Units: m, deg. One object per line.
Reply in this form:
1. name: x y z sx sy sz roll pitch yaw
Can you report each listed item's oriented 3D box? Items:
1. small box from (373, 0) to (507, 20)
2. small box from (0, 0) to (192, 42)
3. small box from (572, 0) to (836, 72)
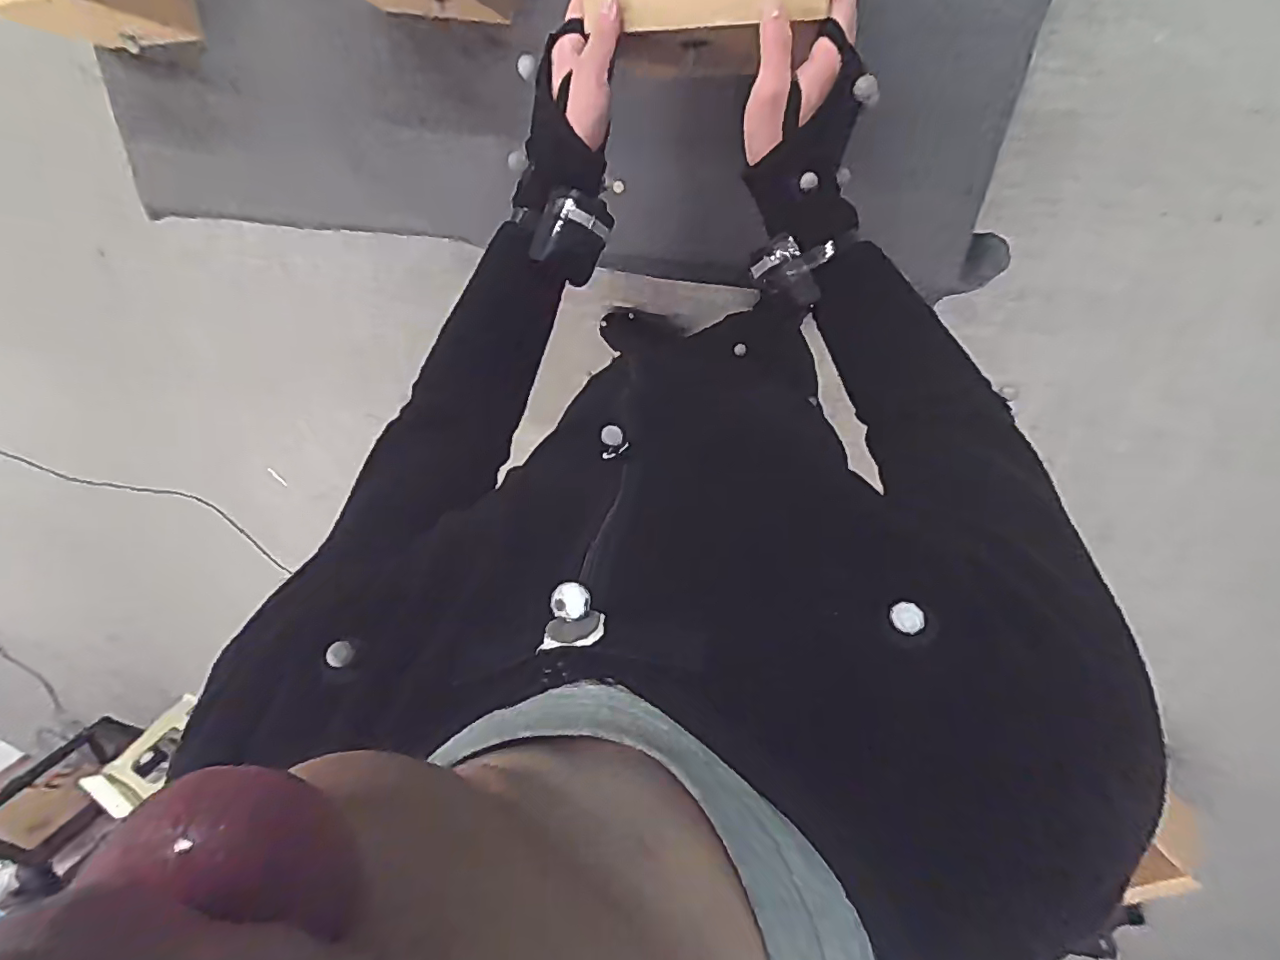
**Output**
1. small box: -0.236 -0.591 0.537 0.179 0.176 0.168 14 117 10
2. small box: -0.683 -0.645 0.638 0.179 0.176 0.168 6 116 12
3. small box: 0.061 -0.421 0.402 0.179 0.176 0.168 10 119 15
